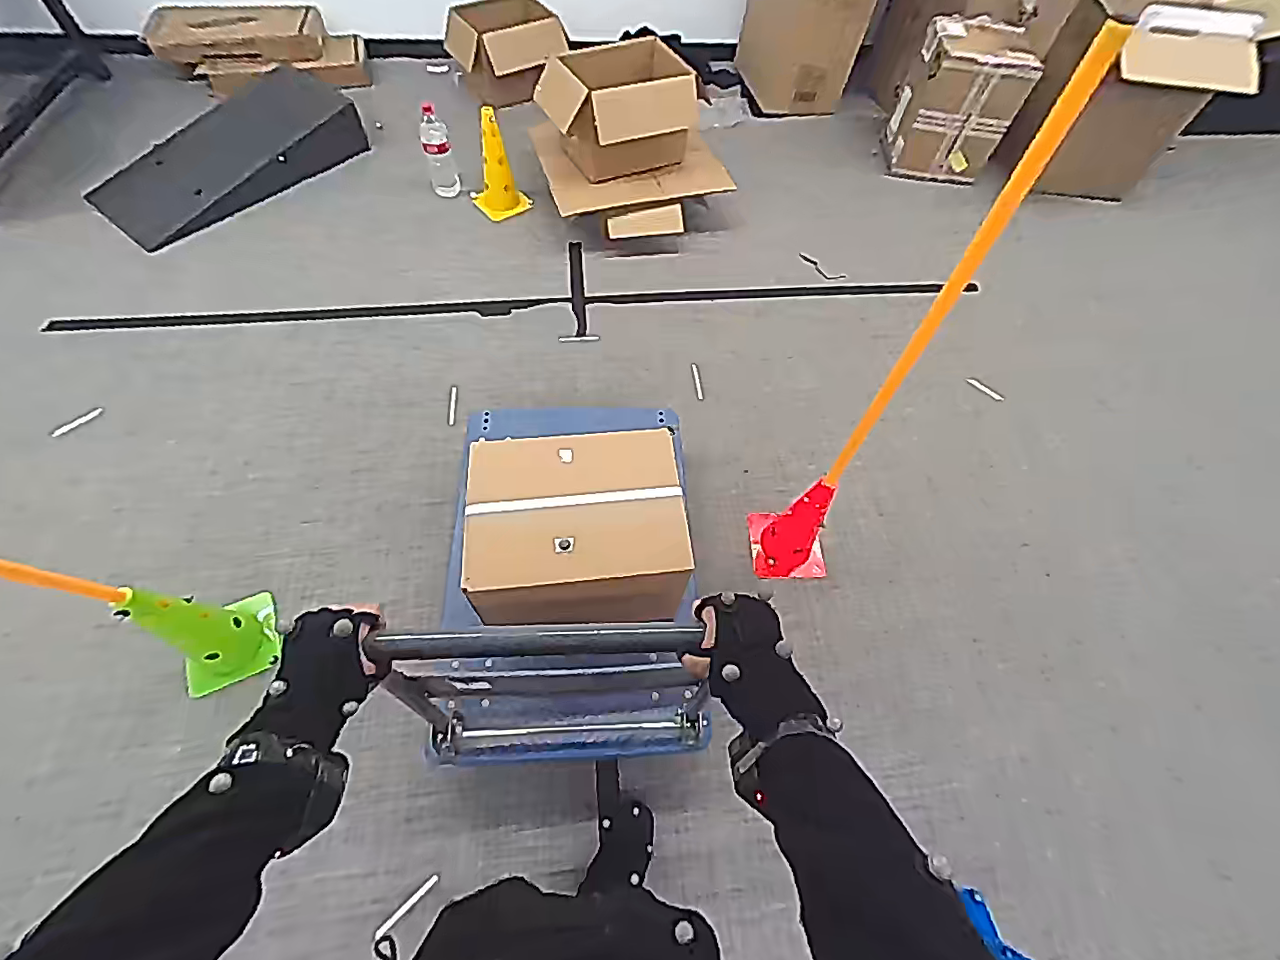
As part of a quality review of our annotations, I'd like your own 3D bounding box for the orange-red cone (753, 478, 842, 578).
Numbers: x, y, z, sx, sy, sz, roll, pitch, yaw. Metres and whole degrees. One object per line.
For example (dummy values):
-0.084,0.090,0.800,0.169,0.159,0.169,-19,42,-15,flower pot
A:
0.433,0.096,1.381,0.199,0.360,0.198,2,60,-4,orange-red cone
